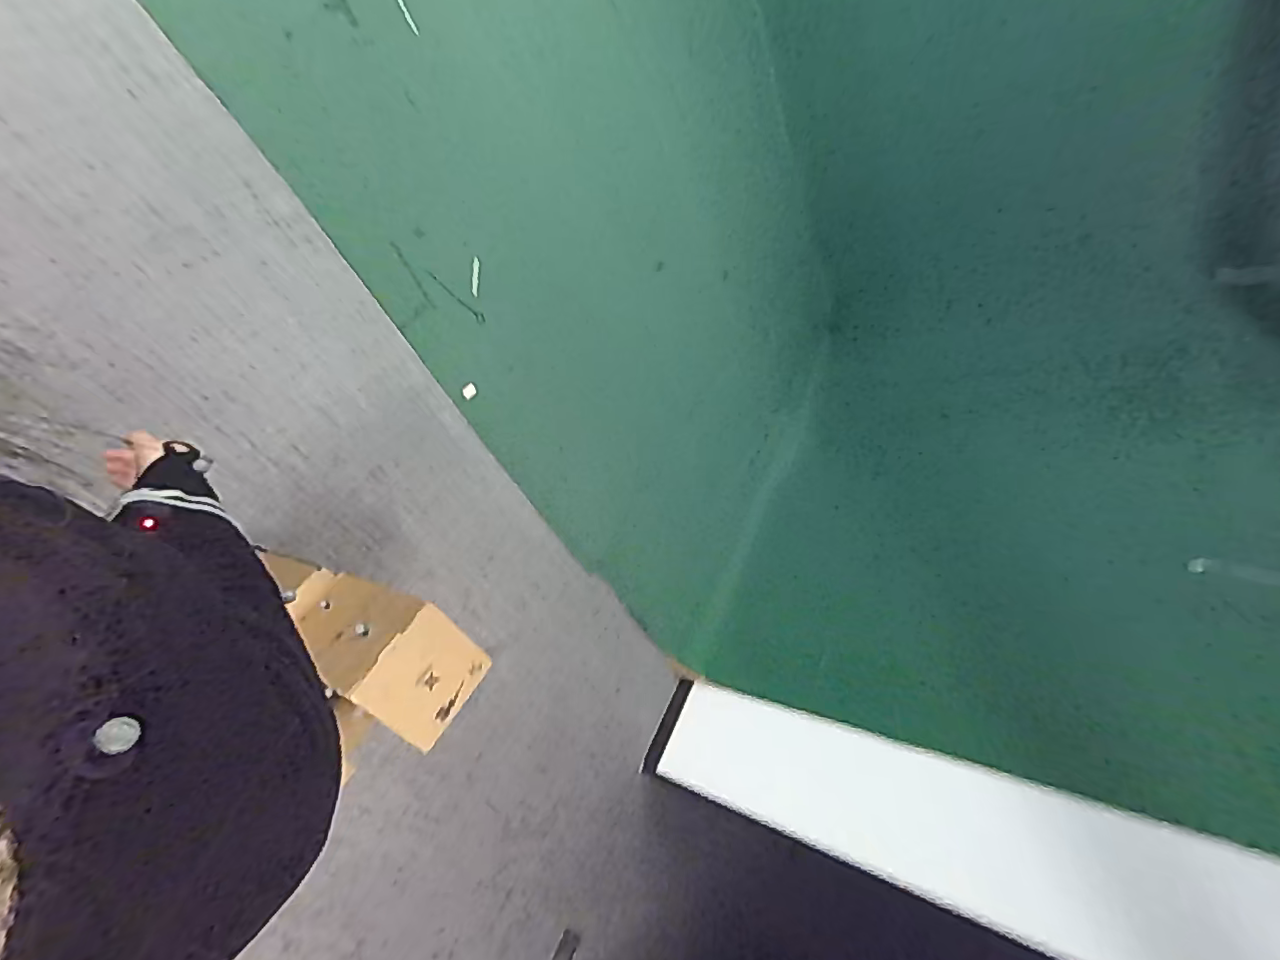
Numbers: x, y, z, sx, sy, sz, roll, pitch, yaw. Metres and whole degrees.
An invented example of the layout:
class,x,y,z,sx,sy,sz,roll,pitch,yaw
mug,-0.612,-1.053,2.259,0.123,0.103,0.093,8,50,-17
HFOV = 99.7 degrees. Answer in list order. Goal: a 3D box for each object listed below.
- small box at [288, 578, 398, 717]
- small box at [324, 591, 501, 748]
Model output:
class,x,y,z,sx,sy,sz,roll,pitch,yaw
small box,-0.497,0.300,0.998,0.168,0.176,0.179,-55,129,-32
small box,-0.374,0.300,0.888,0.168,0.176,0.179,-54,128,-32
